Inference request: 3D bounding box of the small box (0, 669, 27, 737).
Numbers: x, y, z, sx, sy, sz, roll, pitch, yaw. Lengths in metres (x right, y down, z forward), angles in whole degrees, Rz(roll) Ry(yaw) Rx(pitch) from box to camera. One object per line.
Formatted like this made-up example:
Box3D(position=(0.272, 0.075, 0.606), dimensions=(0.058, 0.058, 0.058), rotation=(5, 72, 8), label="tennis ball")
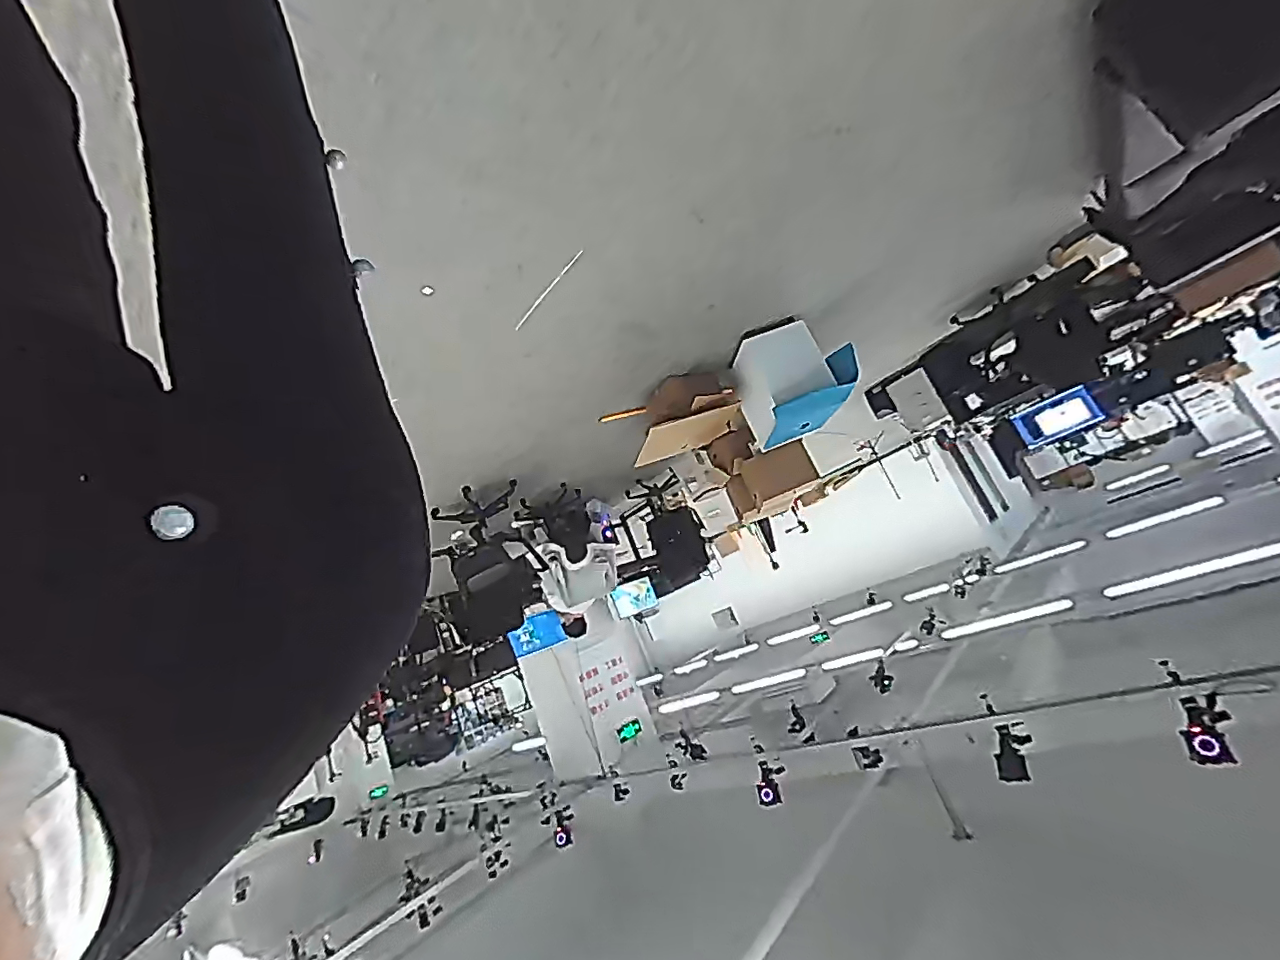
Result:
Box3D(position=(-1.920, 0.666, 1.567), dimensions=(0.168, 0.176, 0.179), rotation=(-8, 161, -45), label="small box")
